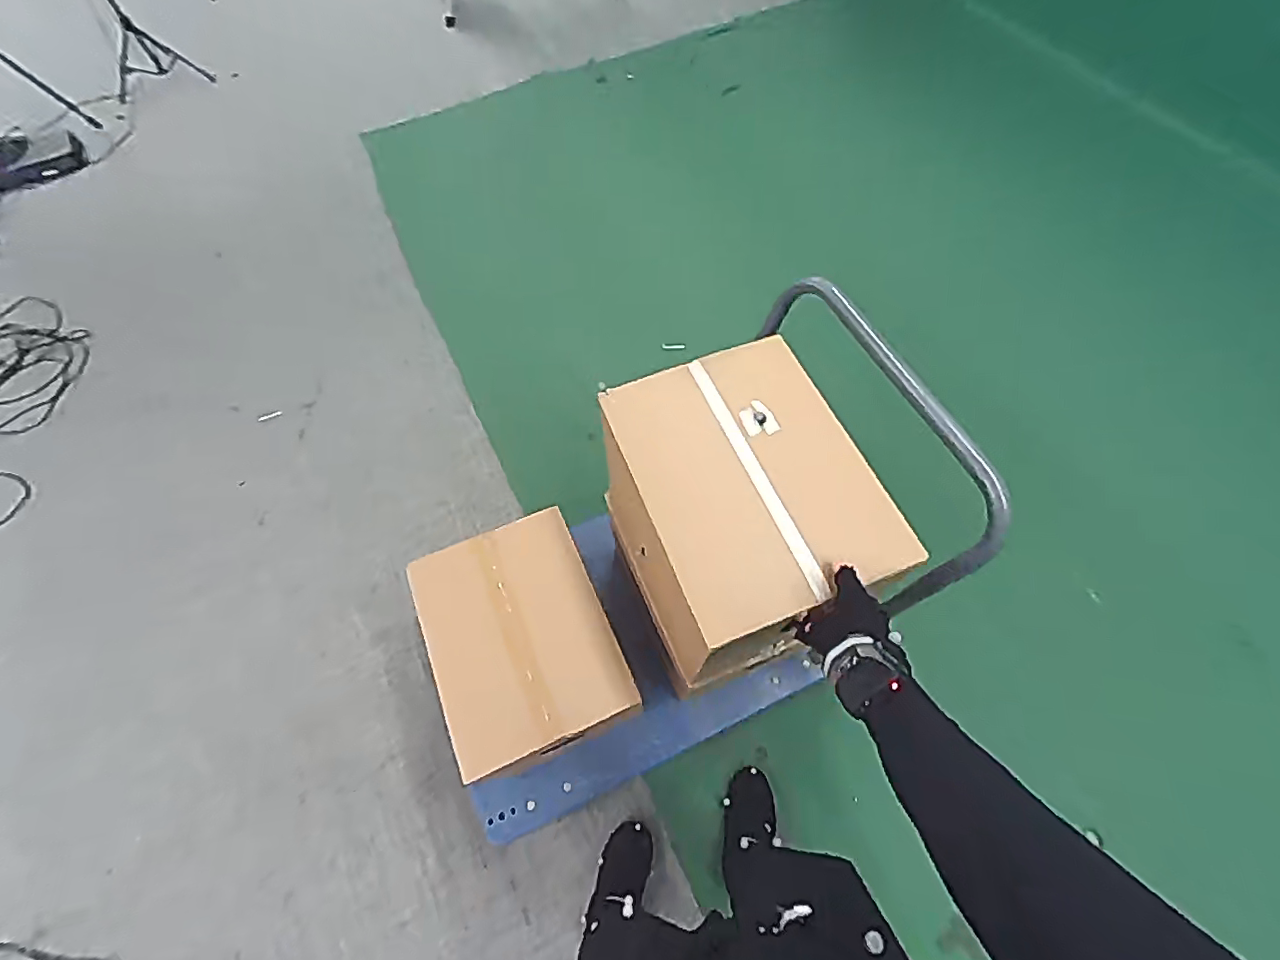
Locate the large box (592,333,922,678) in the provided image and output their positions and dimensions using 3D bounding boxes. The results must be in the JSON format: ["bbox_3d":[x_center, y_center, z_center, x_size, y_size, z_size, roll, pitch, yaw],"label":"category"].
[{"bbox_3d":[0.147,0.050,0.872,0.320,0.320,0.408,-19,63,-10],"label":"large box"}]
